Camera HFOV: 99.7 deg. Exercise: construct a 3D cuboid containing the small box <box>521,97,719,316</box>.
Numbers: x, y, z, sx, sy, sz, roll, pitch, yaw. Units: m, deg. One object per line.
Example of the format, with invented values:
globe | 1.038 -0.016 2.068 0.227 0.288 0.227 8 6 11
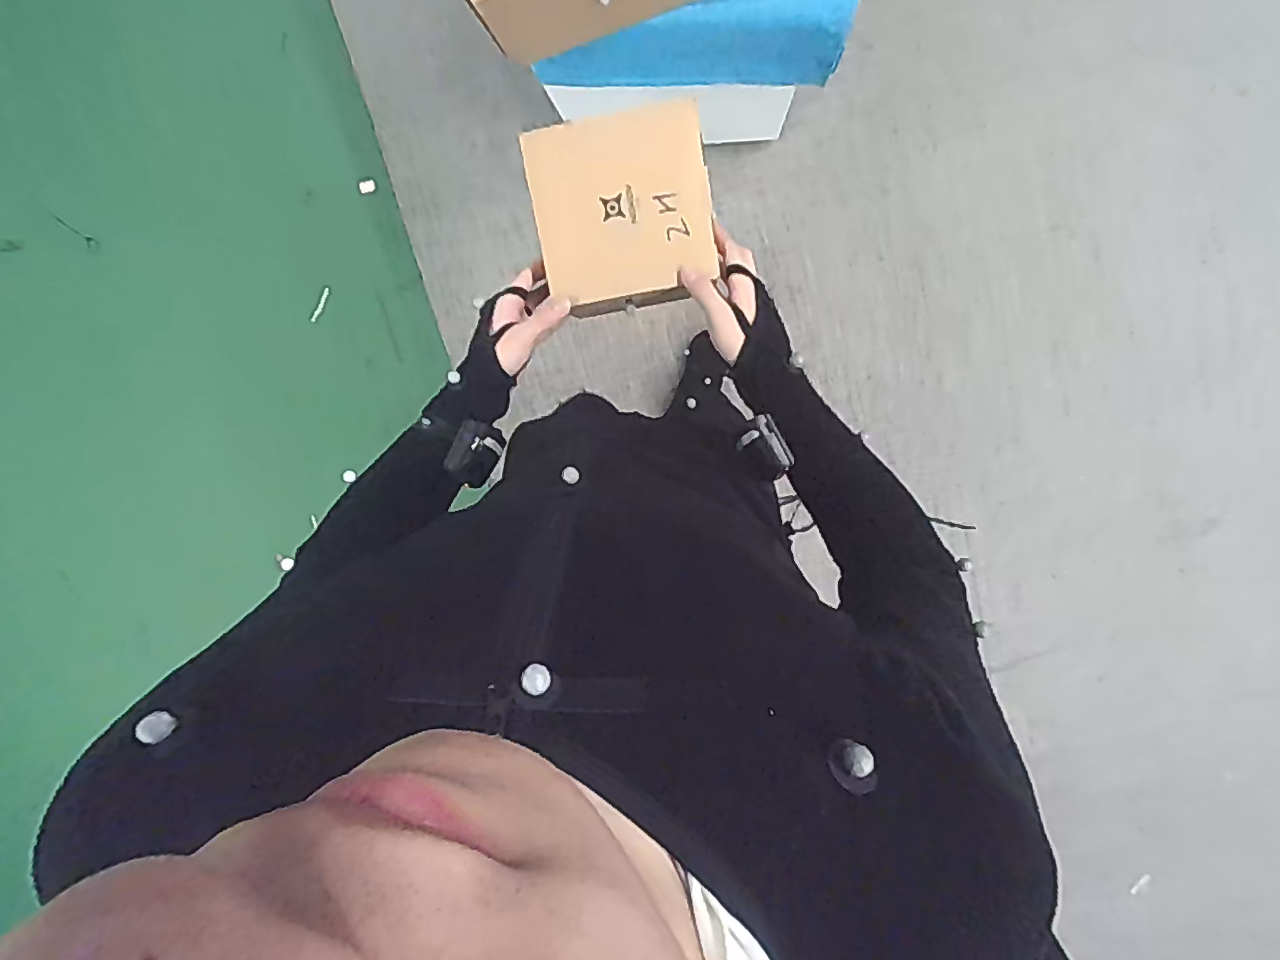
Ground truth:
small box | -0.013 -0.283 0.603 0.179 0.176 0.168 -9 103 5
